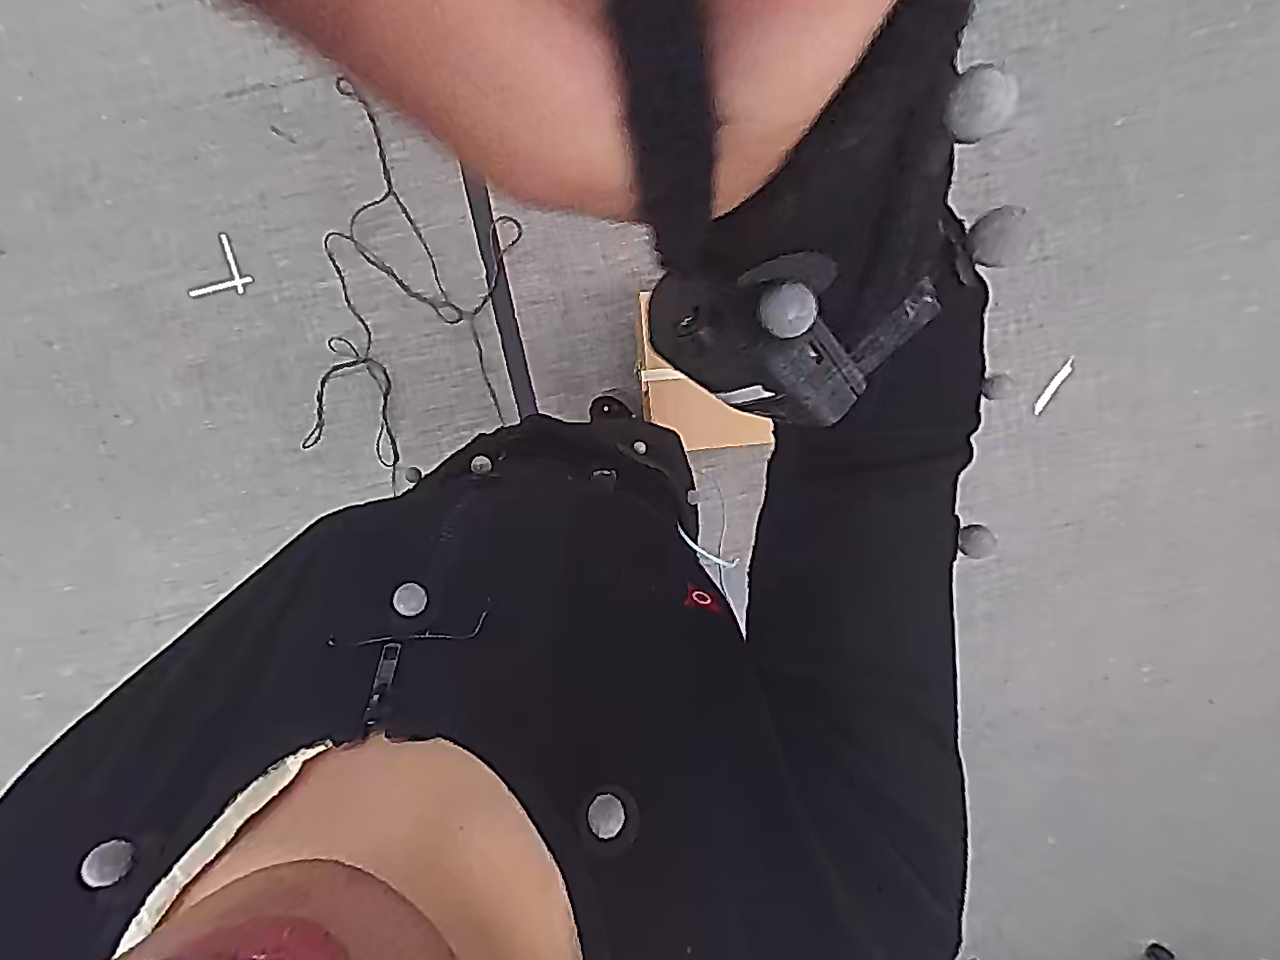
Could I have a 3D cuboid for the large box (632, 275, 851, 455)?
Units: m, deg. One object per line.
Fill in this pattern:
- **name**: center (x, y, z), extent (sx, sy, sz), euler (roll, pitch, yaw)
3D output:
- **large box**: center (0.202, -0.242, 1.204), extent (0.408, 0.320, 0.320), euler (-6, 99, -2)
